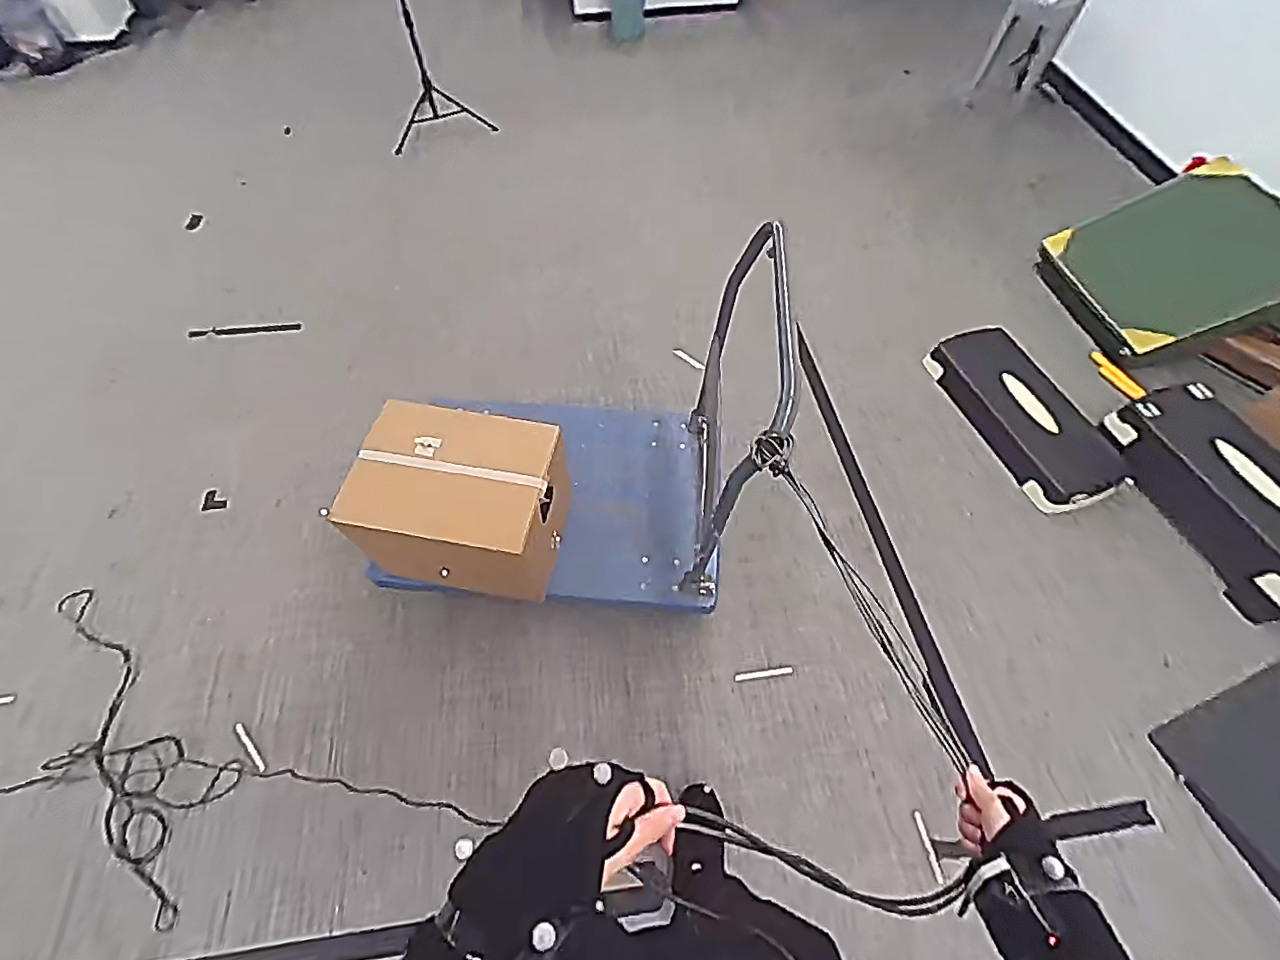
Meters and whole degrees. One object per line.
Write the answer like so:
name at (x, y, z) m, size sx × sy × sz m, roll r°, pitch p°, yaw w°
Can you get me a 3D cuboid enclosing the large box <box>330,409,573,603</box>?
large box at (-0.394, 0.070, 1.253) m, size 0.408 × 0.320 × 0.320 m, roll 8°, pitch 59°, yaw 5°
